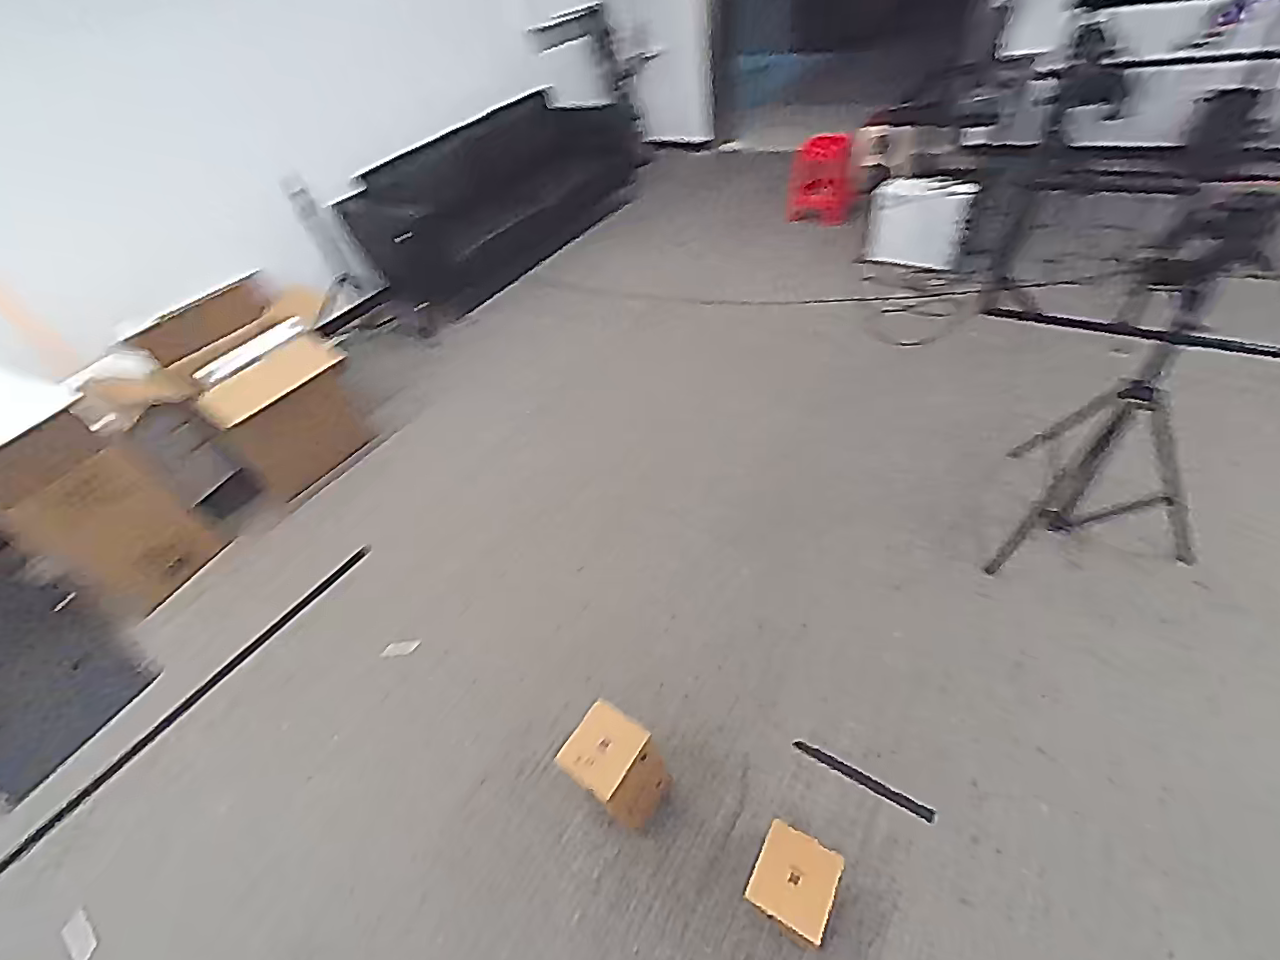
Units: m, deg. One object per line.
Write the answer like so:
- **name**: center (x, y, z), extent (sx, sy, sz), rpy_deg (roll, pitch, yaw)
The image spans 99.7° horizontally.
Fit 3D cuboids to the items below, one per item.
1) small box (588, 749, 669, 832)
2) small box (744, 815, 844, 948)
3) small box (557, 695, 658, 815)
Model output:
- **small box**: center (-0.036, 0.790, 1.440), extent (0.168, 0.176, 0.179), rpy_deg (23, 54, 32)
- **small box**: center (0.349, 0.916, 1.230), extent (0.168, 0.176, 0.179), rpy_deg (18, 51, 28)
- **small box**: center (-0.071, 0.675, 1.327), extent (0.168, 0.176, 0.179), rpy_deg (22, 55, 32)
